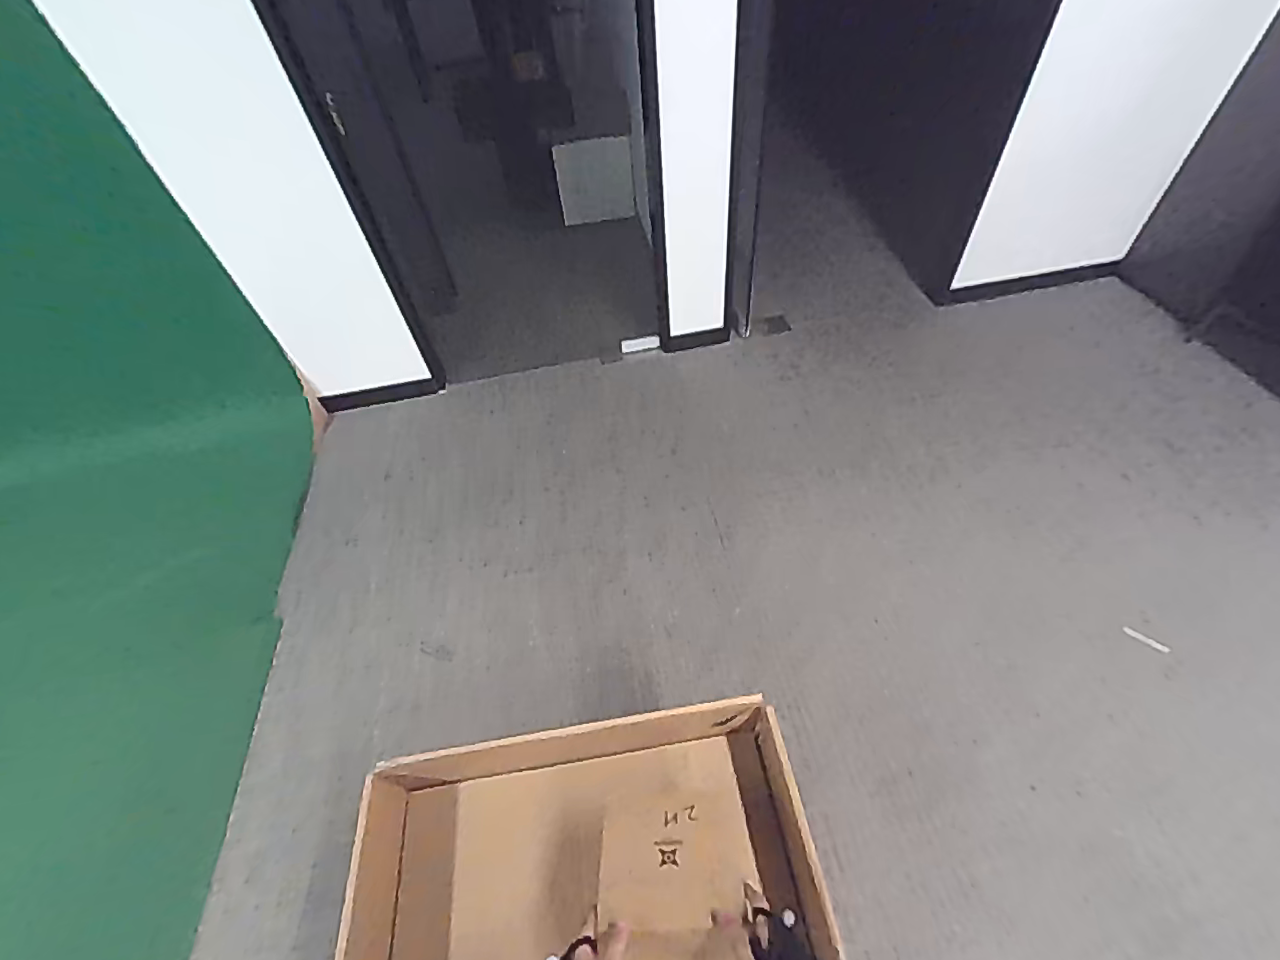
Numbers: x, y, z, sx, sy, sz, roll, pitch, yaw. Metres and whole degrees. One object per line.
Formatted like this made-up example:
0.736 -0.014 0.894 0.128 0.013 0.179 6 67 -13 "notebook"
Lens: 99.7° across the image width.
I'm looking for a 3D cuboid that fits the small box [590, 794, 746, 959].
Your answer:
0.036 0.521 0.657 0.168 0.176 0.179 -2 14 2 "small box"
